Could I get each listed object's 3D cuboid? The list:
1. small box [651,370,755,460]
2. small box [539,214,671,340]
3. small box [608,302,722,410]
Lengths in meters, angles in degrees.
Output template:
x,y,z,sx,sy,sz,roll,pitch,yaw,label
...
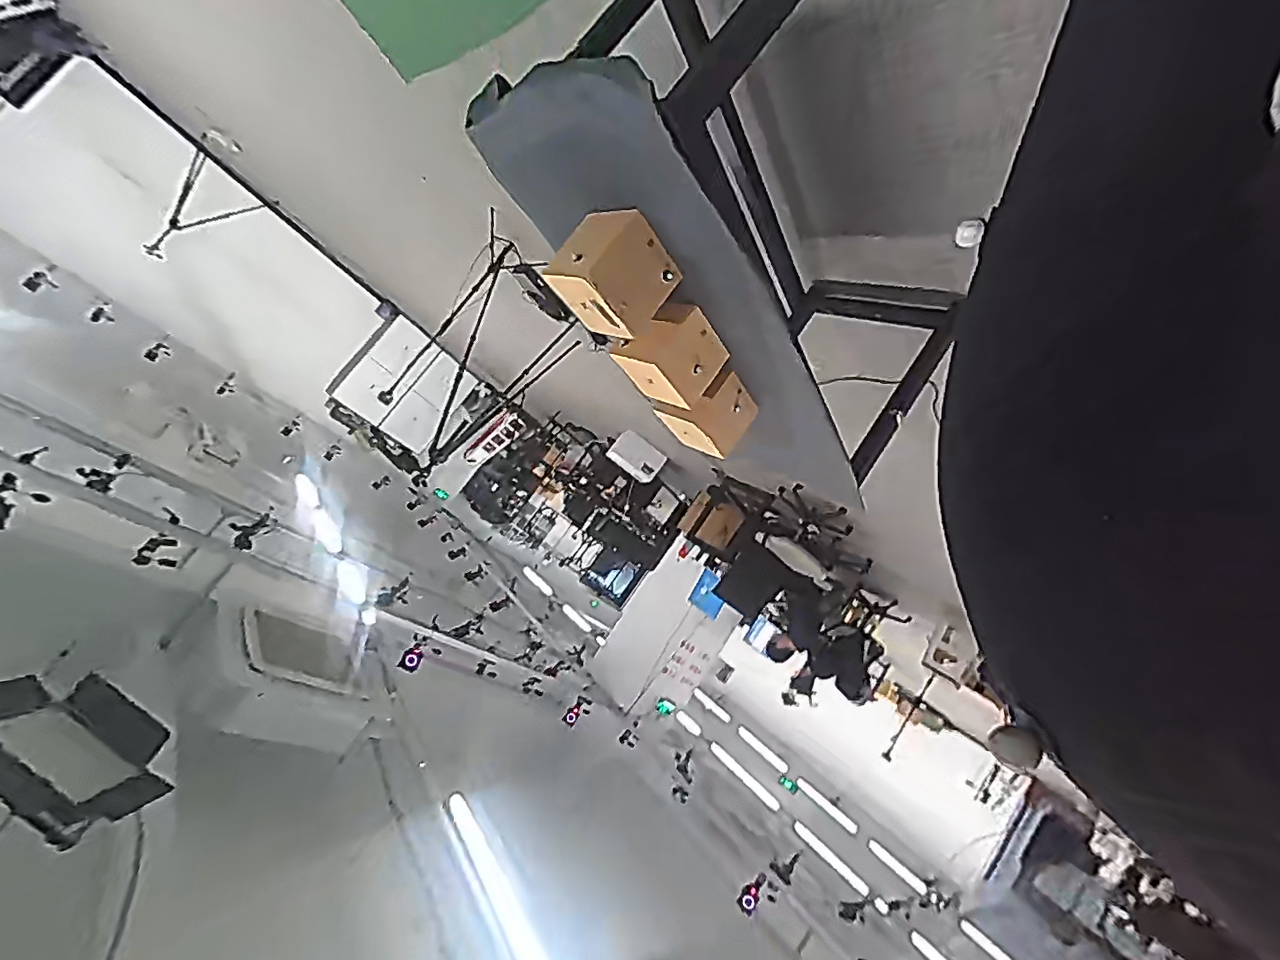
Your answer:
x,y,z,sx,sy,sz,roll,pitch,yaw,label
0.168,-0.184,1.419,0.179,0.176,0.168,27,168,48,small box
-0.061,-0.407,1.082,0.179,0.176,0.168,28,169,47,small box
0.066,-0.290,1.250,0.179,0.176,0.168,28,169,47,small box
